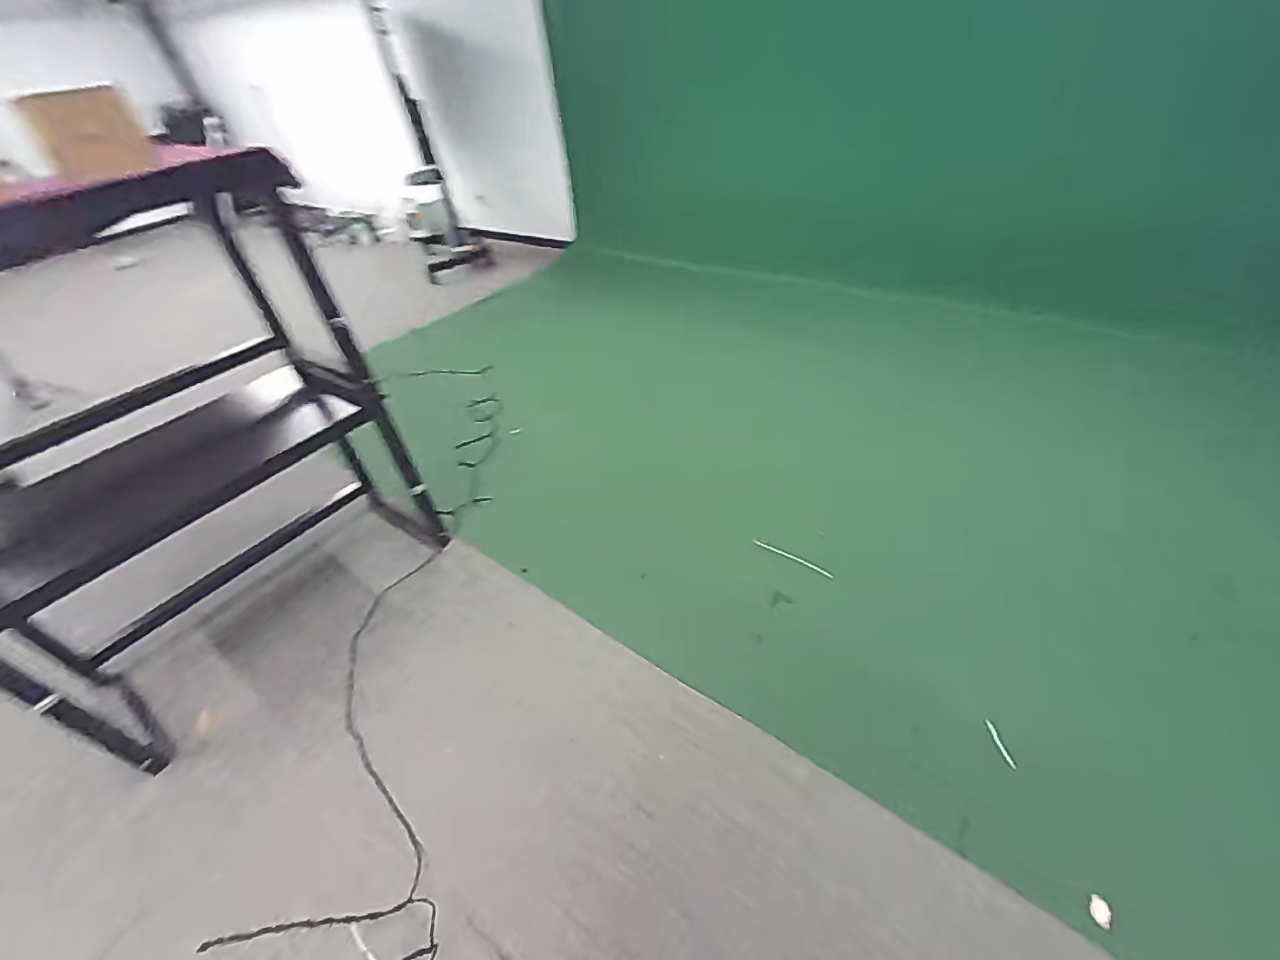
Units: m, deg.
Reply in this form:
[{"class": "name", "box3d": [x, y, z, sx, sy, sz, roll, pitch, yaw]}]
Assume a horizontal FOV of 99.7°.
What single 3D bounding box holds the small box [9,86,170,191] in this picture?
[{"class": "small box", "box3d": [-1.235, -0.770, 1.223, 0.168, 0.176, 0.179, 22, 50, 30]}]
